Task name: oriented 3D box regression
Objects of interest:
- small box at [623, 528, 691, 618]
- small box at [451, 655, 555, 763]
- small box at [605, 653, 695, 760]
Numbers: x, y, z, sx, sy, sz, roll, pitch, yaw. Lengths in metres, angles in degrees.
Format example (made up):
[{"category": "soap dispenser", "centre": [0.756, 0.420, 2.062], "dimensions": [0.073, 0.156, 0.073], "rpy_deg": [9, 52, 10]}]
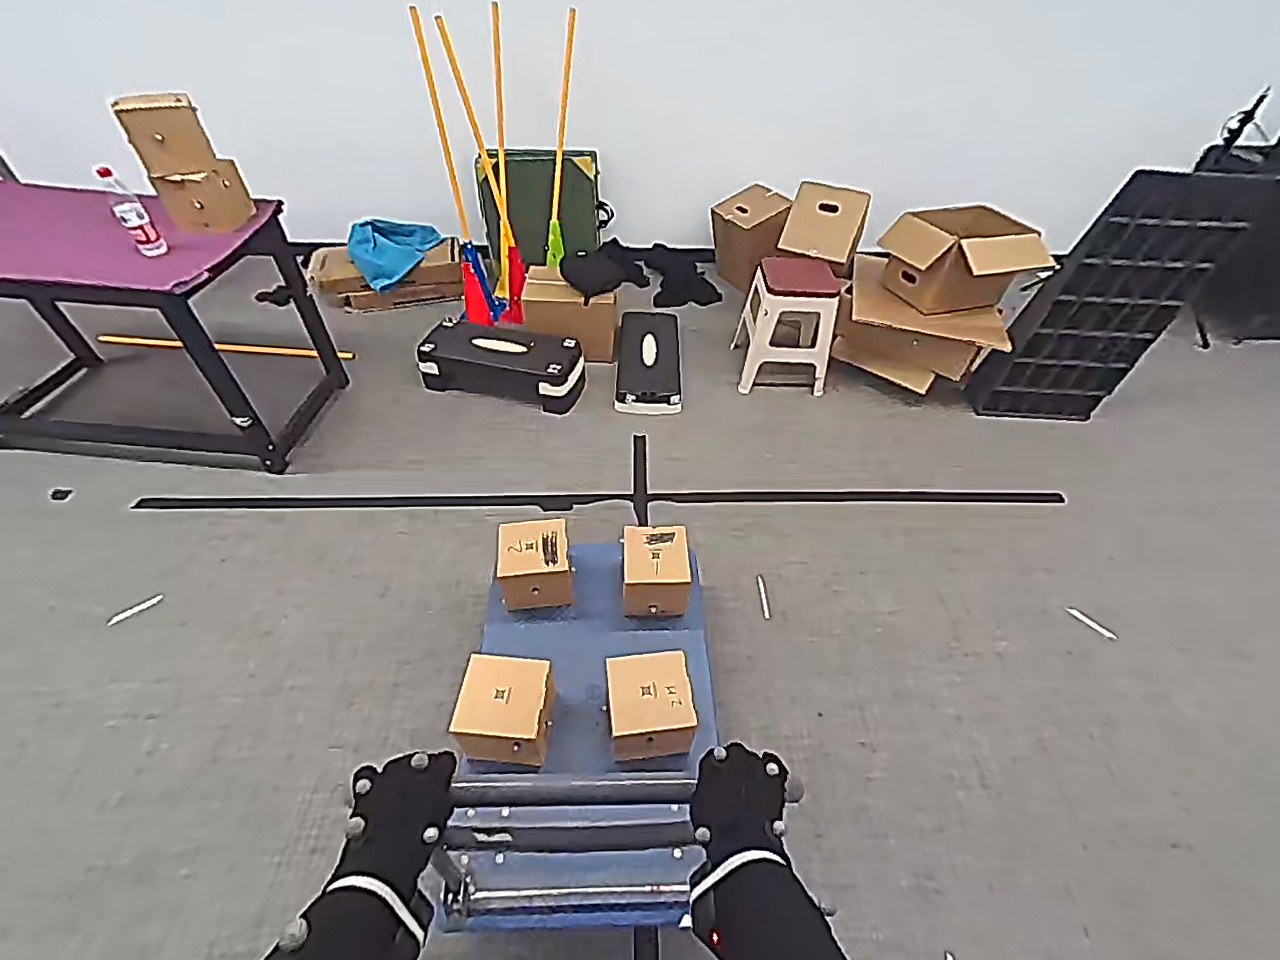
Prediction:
[{"category": "small box", "centre": [0.040, 0.248, 1.440], "dimensions": [0.168, 0.176, 0.179], "rpy_deg": [0, 48, -2]}, {"category": "small box", "centre": [-0.289, 0.504, 1.184], "dimensions": [0.179, 0.176, 0.168], "rpy_deg": [5, 46, 0]}, {"category": "small box", "centre": [0.018, 0.504, 1.199], "dimensions": [0.179, 0.176, 0.168], "rpy_deg": [-4, 47, -6]}]
